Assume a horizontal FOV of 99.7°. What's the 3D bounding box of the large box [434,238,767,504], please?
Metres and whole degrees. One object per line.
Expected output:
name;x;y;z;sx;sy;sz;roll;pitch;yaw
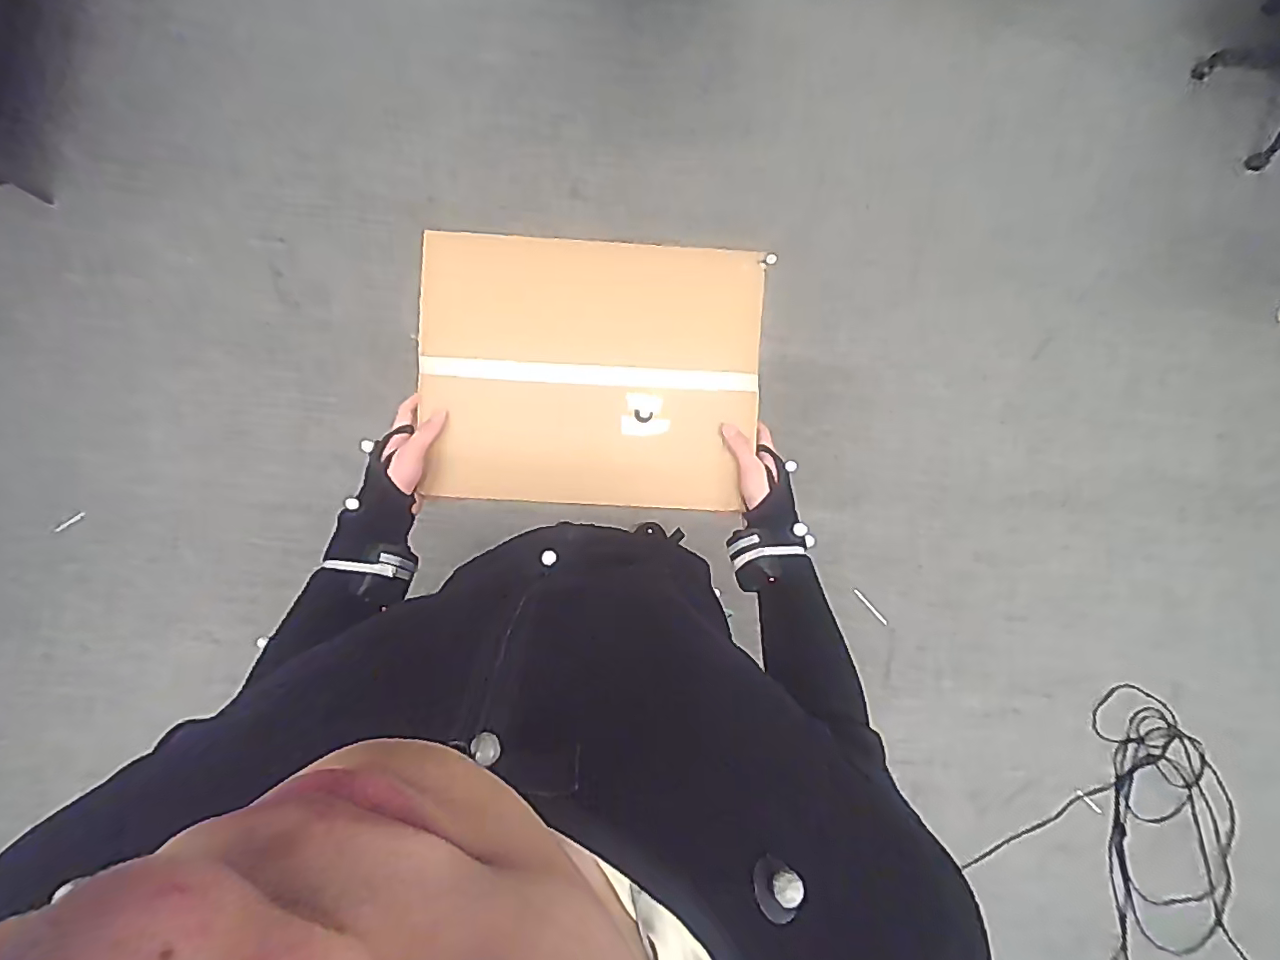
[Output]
large box;-0.056;-0.136;0.802;0.408;0.320;0.320;2;94;-2
